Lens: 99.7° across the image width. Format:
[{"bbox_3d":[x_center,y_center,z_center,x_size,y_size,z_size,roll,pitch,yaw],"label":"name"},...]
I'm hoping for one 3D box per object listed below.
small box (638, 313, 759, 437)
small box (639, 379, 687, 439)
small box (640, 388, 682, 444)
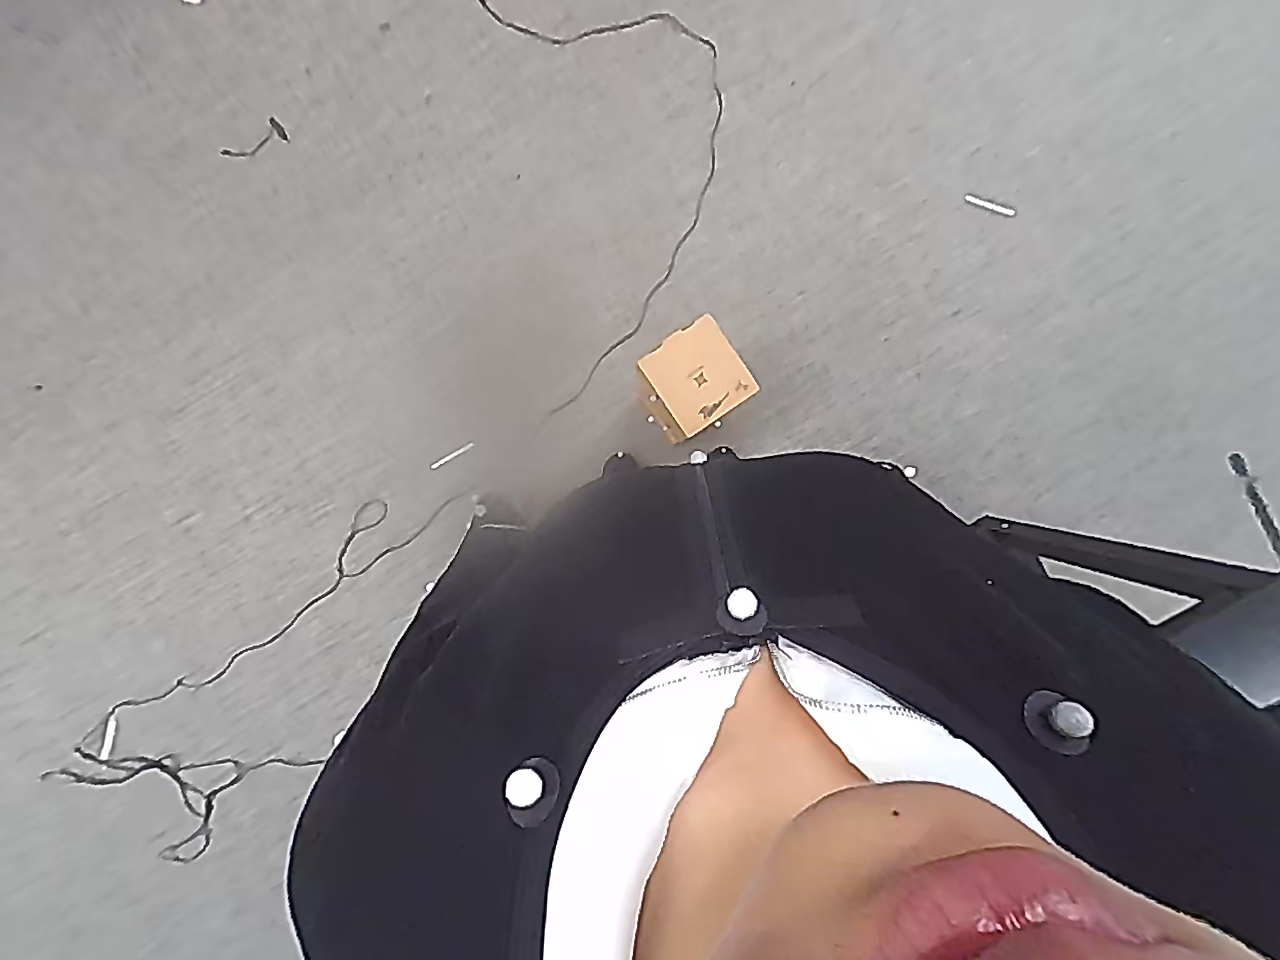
[{"bbox_3d":[0.109,-0.199,1.085,0.168,0.176,0.179,-34,92,3],"label":"small box"},{"bbox_3d":[0.114,-0.205,1.249,0.179,0.176,0.168,-37,93,1],"label":"small box"},{"bbox_3d":[0.112,-0.208,1.411,0.179,0.176,0.168,-34,92,3],"label":"small box"}]
